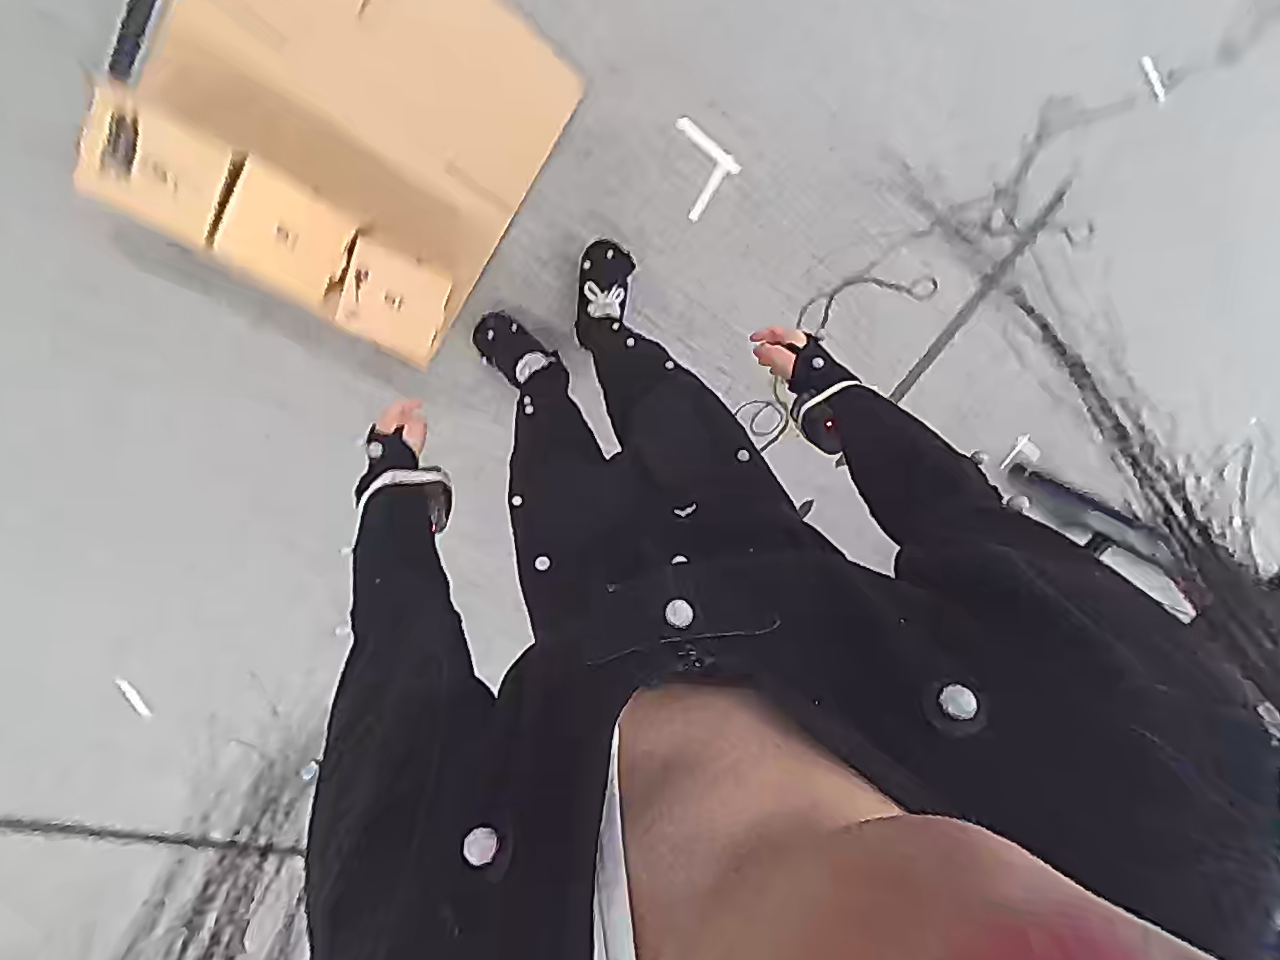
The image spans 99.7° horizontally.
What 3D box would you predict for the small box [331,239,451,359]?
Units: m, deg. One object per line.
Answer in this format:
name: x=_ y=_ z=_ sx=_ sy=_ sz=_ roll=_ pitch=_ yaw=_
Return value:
small box: x=-0.489 y=-0.367 z=1.082 sx=0.179 sy=0.176 sz=0.168 roll=18 pitch=109 yaw=-26
